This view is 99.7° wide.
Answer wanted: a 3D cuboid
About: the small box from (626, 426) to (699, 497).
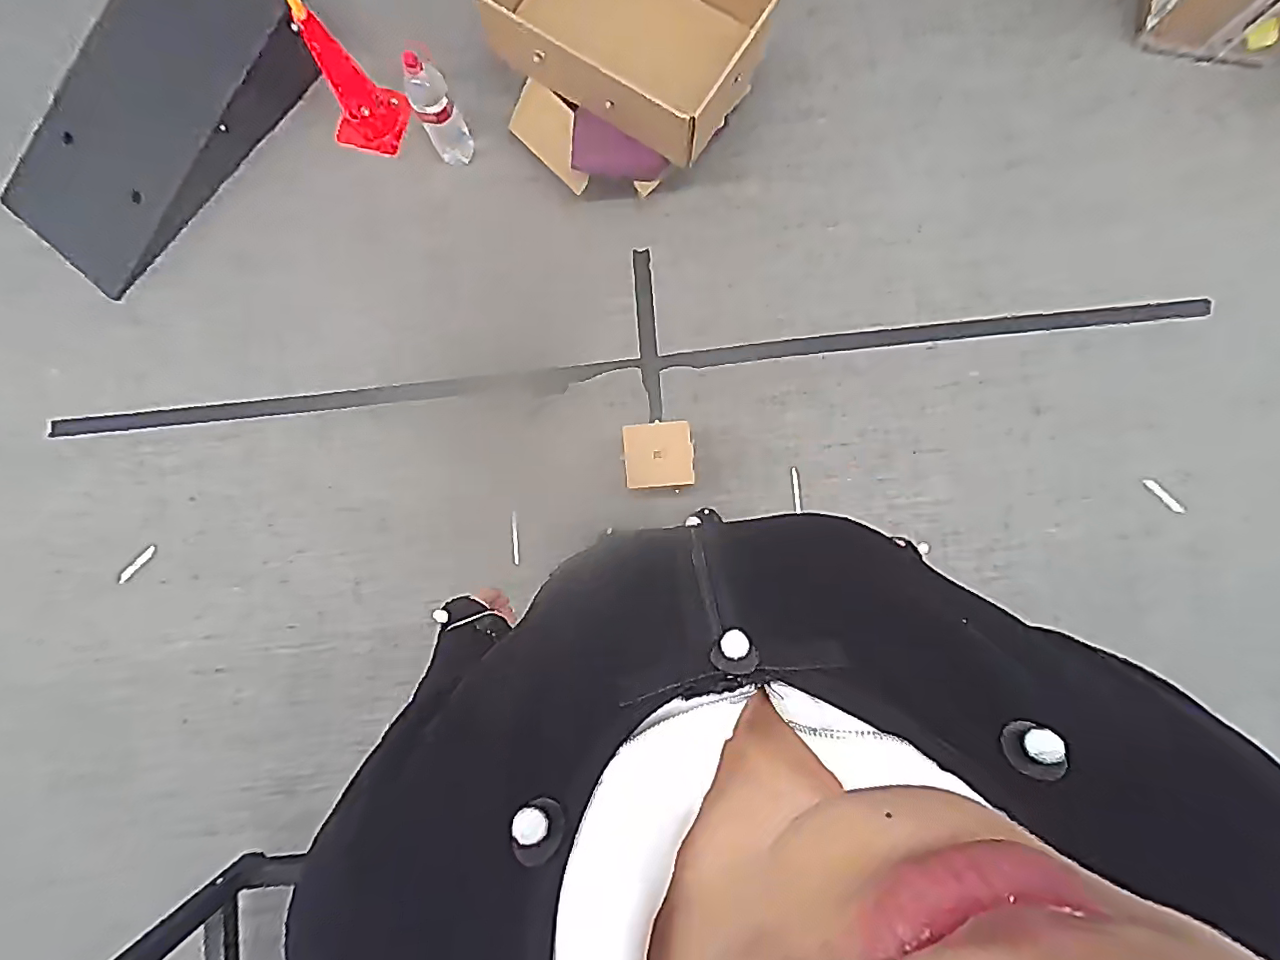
[{"bbox_3d":[0.058,-0.046,1.451,0.179,0.176,0.168,-6,84,2],"label":"small box"}]
